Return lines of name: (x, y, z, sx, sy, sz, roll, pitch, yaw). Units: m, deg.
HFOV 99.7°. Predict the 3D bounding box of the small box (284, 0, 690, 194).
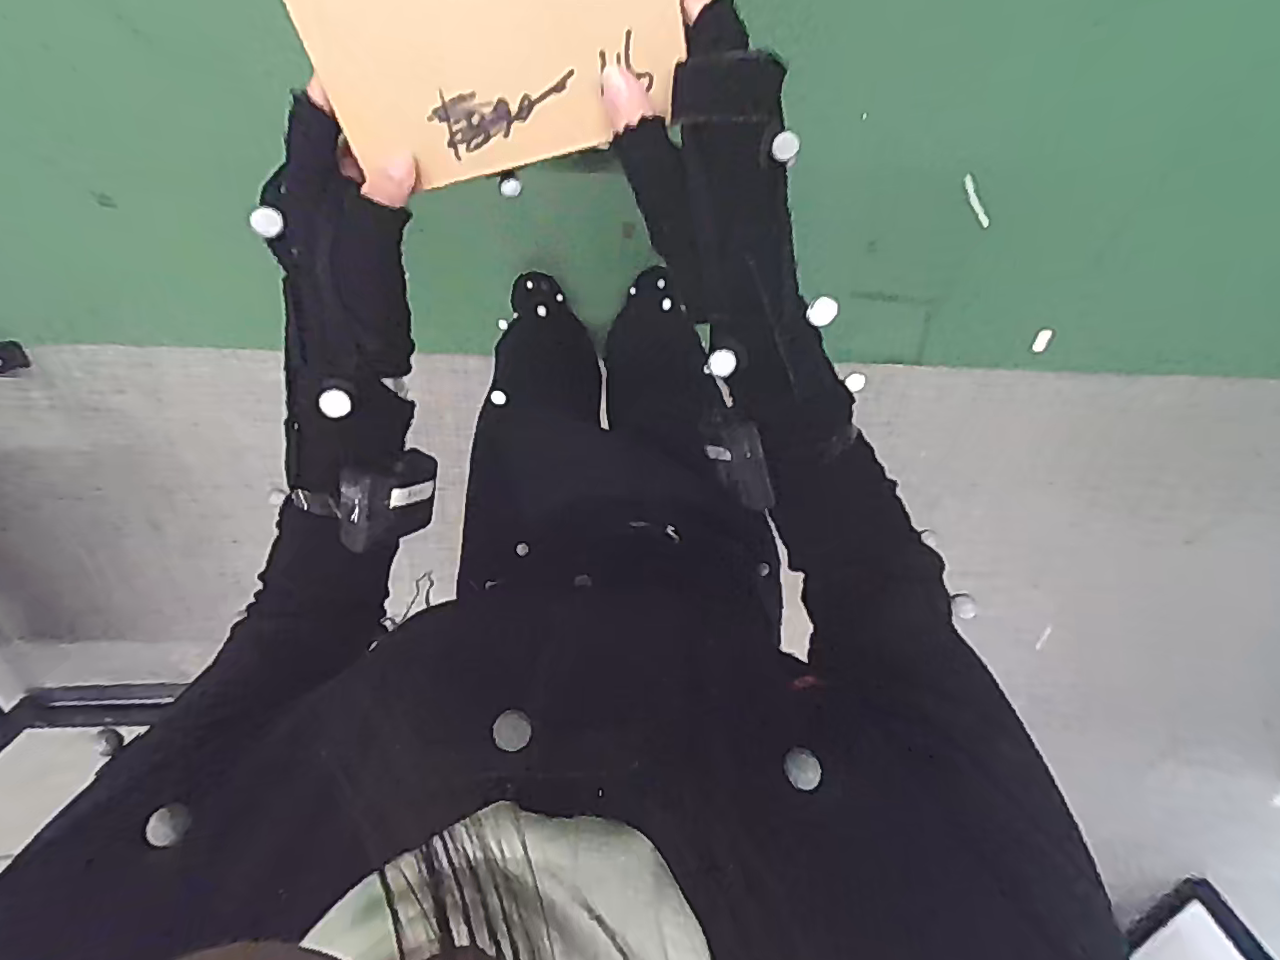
small box: (-0.072, -0.269, 0.278, 0.168, 0.176, 0.179, -9, 125, 7)
